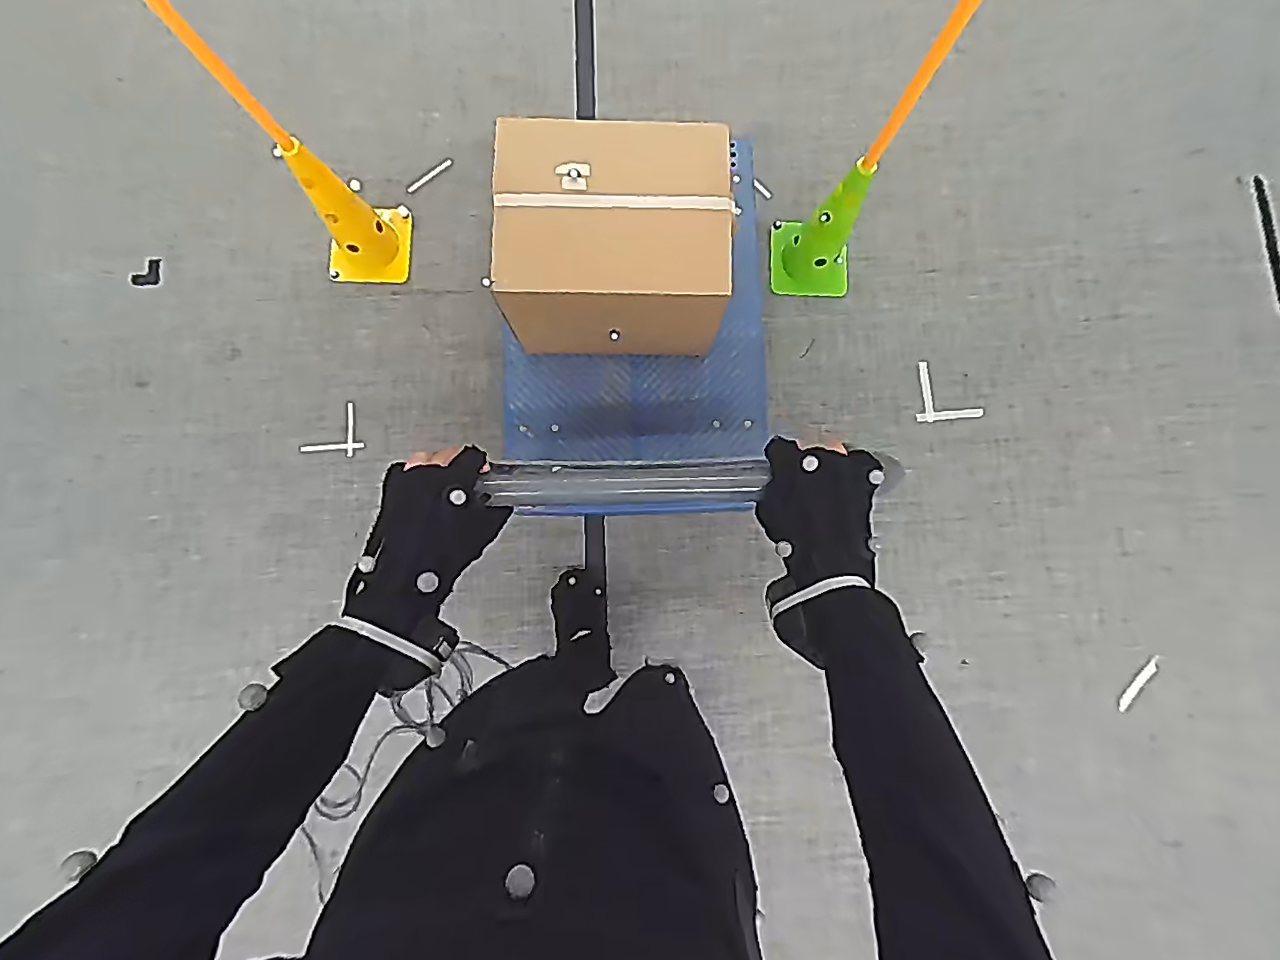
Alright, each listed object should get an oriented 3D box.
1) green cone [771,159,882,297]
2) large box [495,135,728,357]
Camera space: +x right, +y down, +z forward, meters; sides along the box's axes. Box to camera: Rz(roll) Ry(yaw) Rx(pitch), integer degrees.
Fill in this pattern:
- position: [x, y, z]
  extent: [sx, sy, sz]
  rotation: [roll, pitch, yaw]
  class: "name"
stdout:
- position: [0.450, -0.598, 1.253]
  extent: [0.202, 0.368, 0.200]
  rotation: [2, 84, -2]
  class: "green cone"
- position: [-0.047, -0.439, 1.082]
  extent: [0.408, 0.320, 0.320]
  rotation: [1, 84, 0]
  class: "large box"
